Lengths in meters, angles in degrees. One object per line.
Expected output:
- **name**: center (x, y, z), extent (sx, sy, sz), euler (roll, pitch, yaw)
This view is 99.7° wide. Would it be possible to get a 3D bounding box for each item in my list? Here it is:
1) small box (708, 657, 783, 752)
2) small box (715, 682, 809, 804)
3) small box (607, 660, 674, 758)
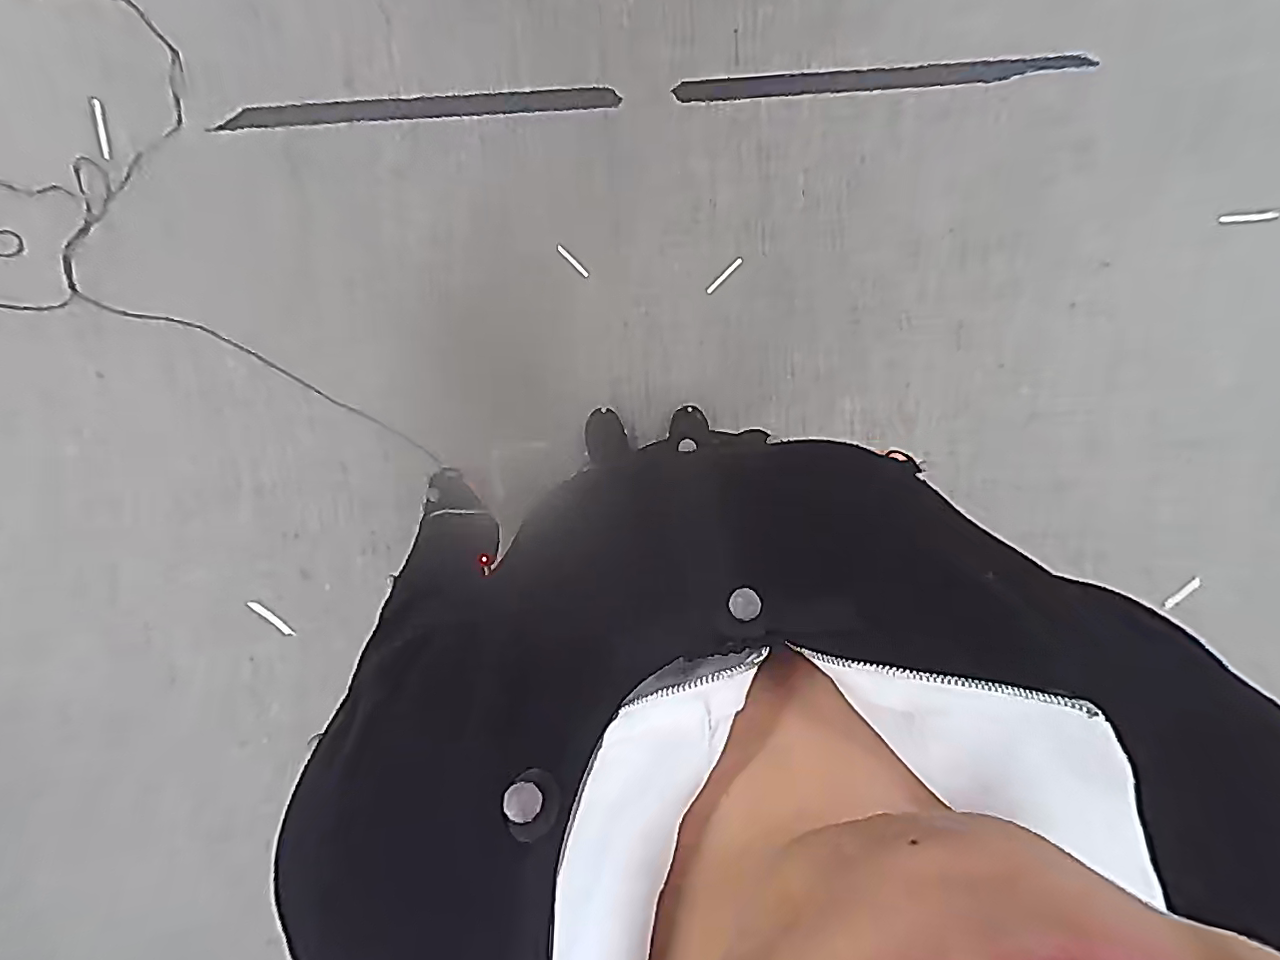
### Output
- **small box**: center (0.269, 0.569, 1.396), extent (0.168, 0.176, 0.179), euler (-3, 98, 1)
- **small box**: center (0.273, 0.593, 1.234), extent (0.168, 0.176, 0.179), euler (-10, 98, 1)
- **small box**: center (0.001, 0.588, 1.398), extent (0.168, 0.176, 0.179), euler (-1, 98, -1)
